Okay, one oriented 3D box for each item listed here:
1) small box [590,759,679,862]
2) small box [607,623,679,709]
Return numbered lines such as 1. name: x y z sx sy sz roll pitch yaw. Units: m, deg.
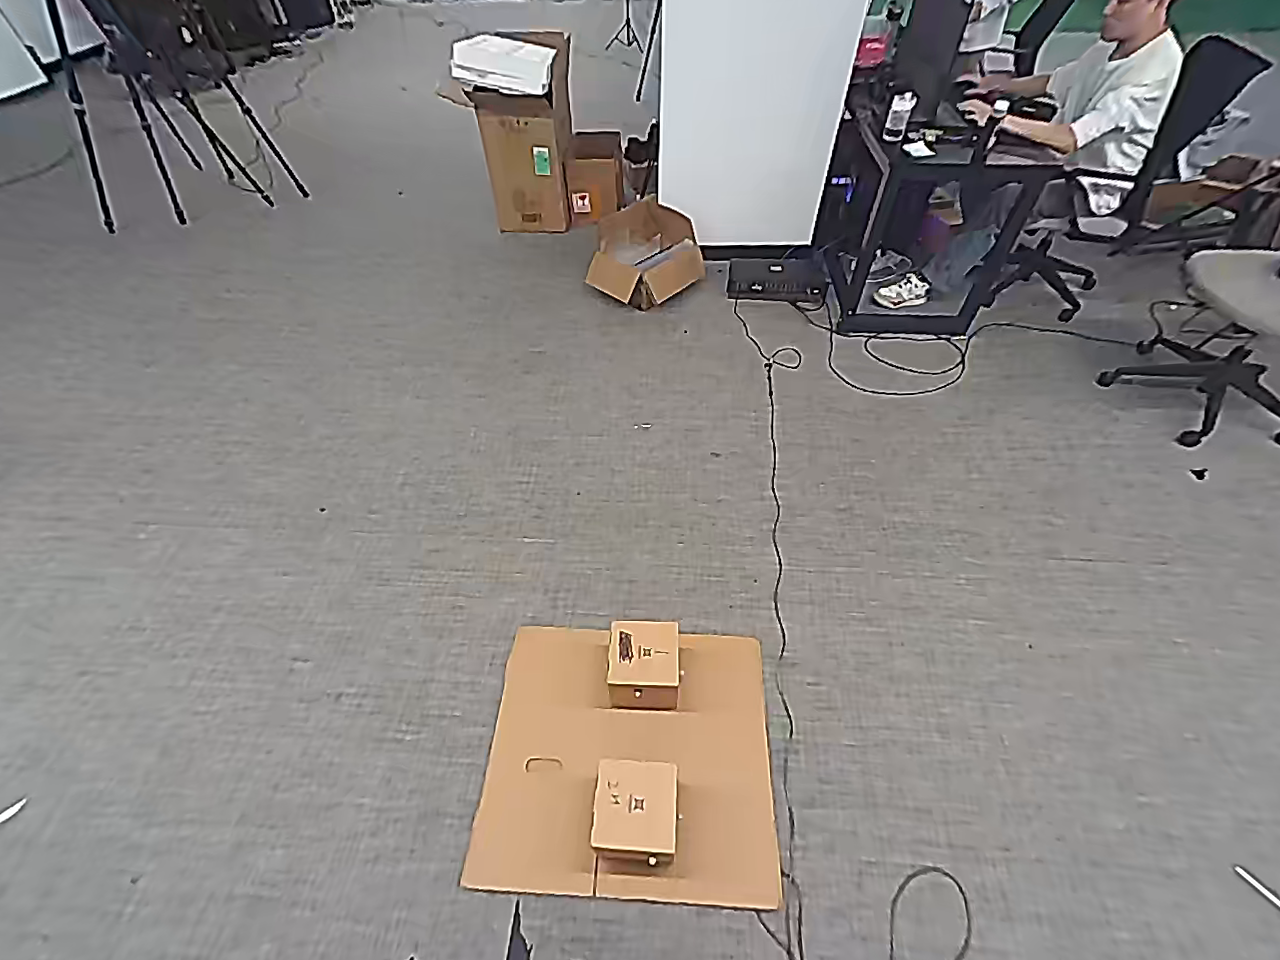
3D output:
1. small box: -0.005 0.737 1.203 0.179 0.176 0.168 2 49 5
2. small box: 0.013 0.488 1.414 0.179 0.176 0.168 1 50 3
